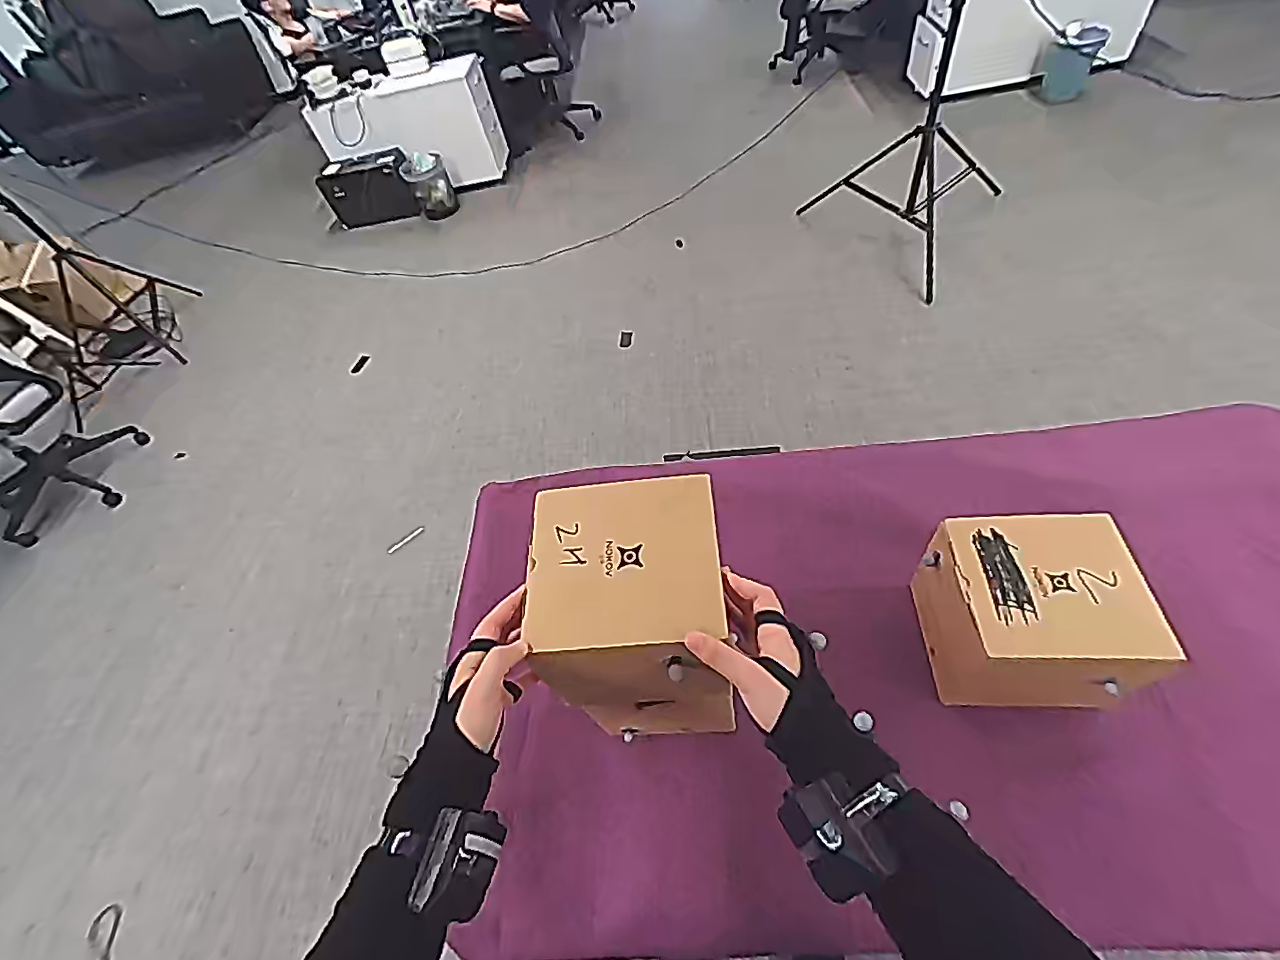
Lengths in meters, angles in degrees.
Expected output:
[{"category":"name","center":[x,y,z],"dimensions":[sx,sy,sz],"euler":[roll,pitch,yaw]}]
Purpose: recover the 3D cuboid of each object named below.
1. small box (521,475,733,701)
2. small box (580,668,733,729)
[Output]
[{"category":"small box","center":[-0.002,0.115,0.547],"dimensions":[0.179,0.176,0.168],"euler":[-6,53,7]},{"category":"small box","center":[0.026,0.206,0.681],"dimensions":[0.168,0.176,0.179],"euler":[-6,52,7]}]
